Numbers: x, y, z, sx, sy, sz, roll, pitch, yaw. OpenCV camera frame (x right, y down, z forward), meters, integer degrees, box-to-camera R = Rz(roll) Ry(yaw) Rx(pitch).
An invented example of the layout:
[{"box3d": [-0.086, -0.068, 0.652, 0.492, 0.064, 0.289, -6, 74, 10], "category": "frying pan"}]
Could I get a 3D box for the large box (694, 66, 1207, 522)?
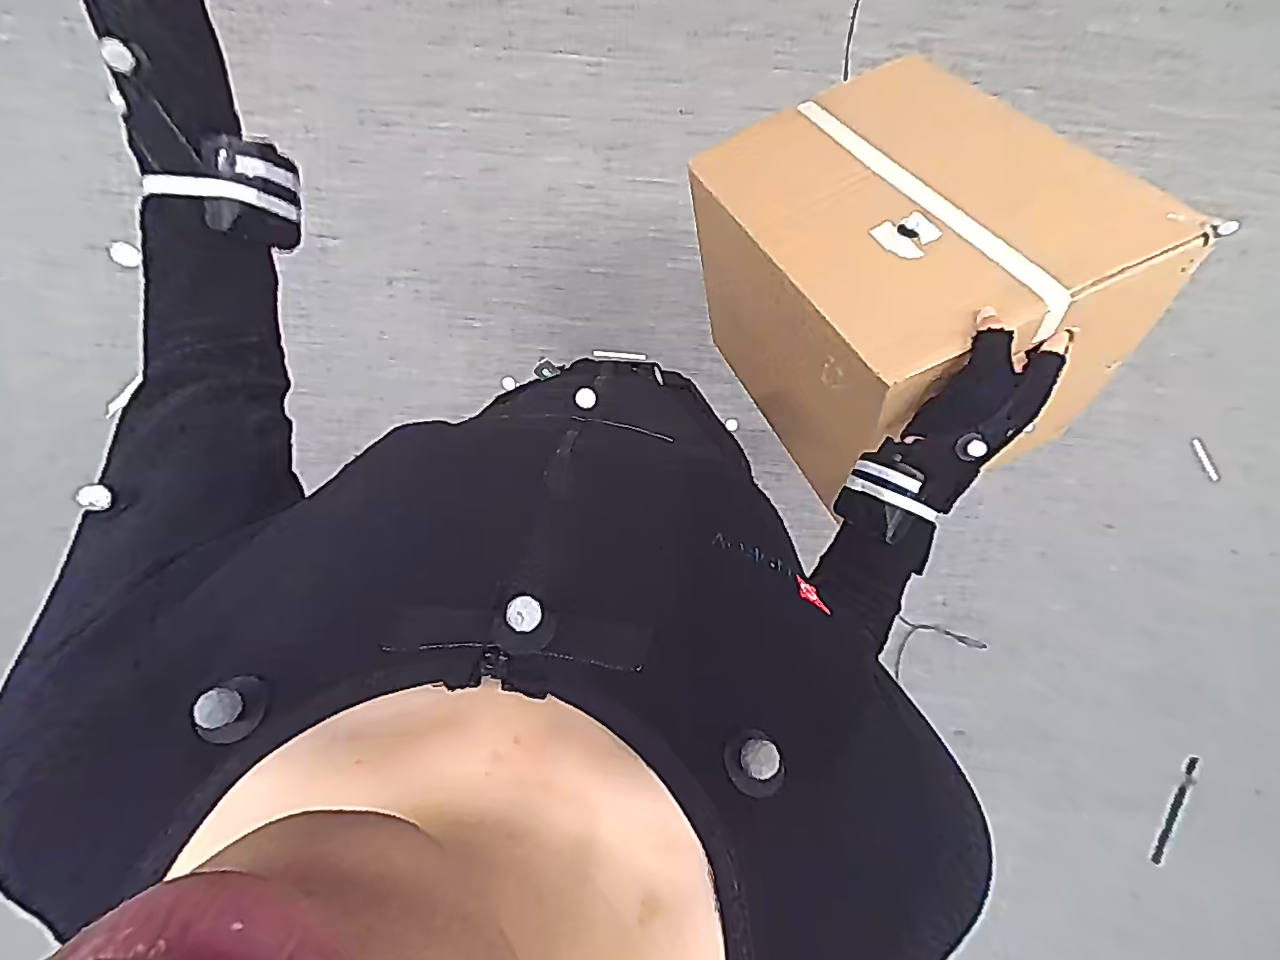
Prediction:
[{"box3d": [0.302, -0.225, 0.685, 0.320, 0.320, 0.408, -25, 58, -1], "category": "large box"}]
